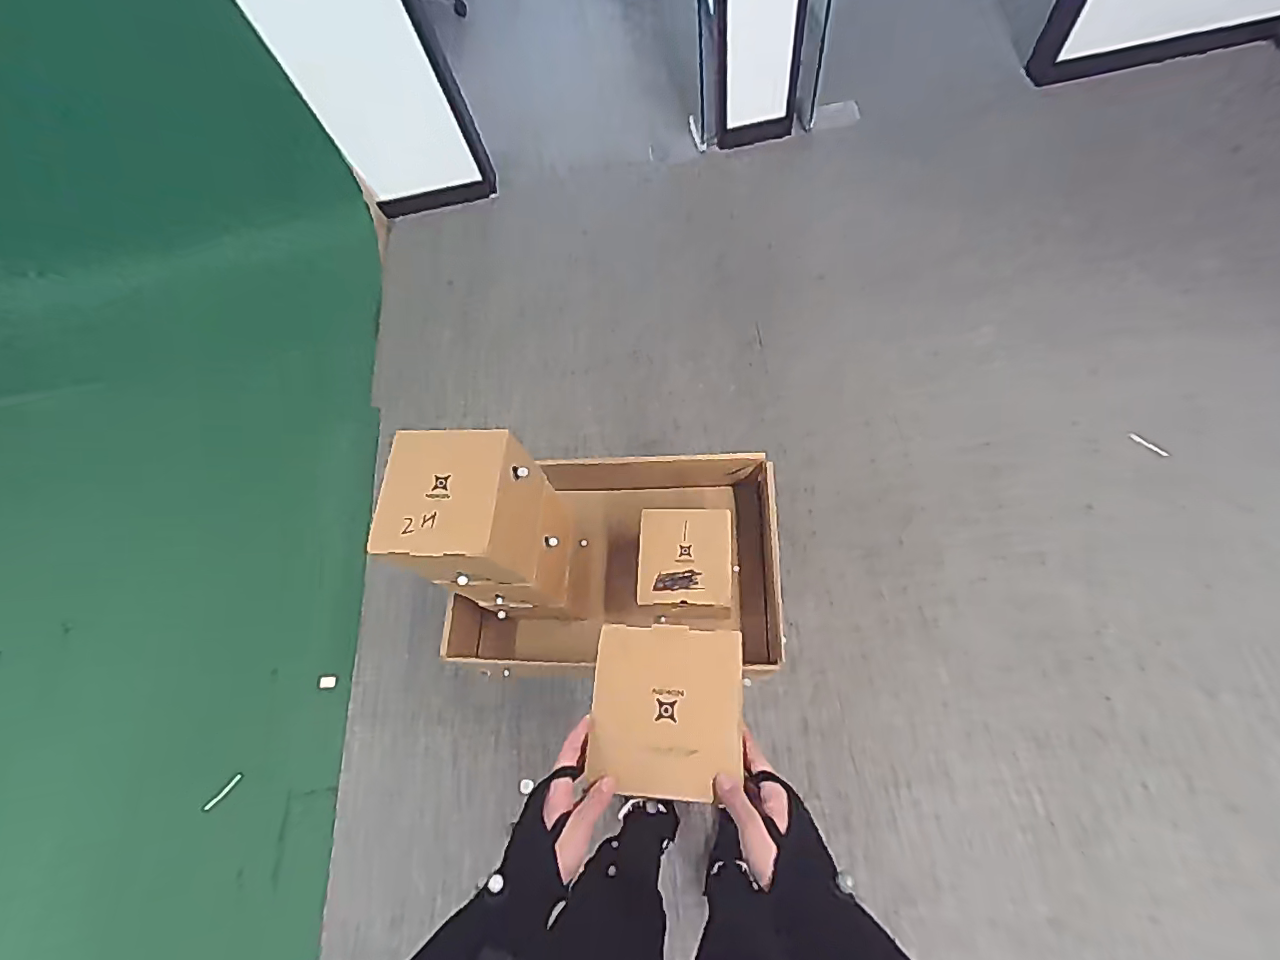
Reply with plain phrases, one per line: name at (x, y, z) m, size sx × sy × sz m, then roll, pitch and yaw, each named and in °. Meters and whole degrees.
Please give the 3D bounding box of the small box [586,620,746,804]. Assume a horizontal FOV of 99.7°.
small box at (0.038, 0.284, 0.657) m, size 0.168 × 0.176 × 0.179 m, roll 2°, pitch 60°, yaw 7°

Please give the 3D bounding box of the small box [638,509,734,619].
small box at (0.095, 0.165, 1.030) m, size 0.168 × 0.176 × 0.179 m, roll 0°, pitch 67°, yaw 9°

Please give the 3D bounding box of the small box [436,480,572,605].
small box at (-0.219, 0.109, 0.926) m, size 0.168 × 0.176 × 0.179 m, roll 0°, pitch 68°, yaw 8°

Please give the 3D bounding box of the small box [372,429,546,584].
small box at (-0.242, 0.042, 0.777) m, size 0.168 × 0.176 × 0.179 m, roll 1°, pitch 68°, yaw 10°
